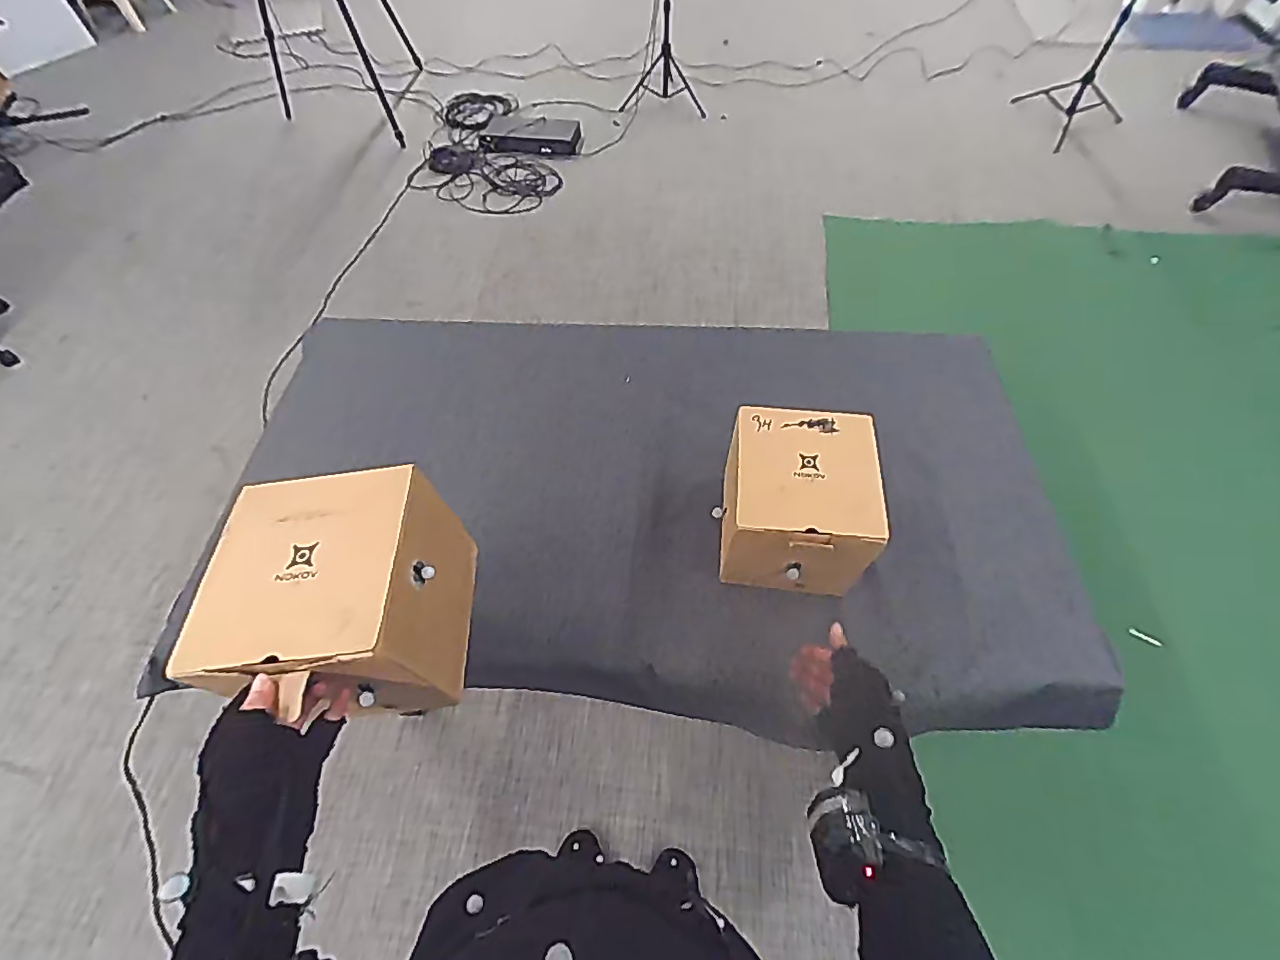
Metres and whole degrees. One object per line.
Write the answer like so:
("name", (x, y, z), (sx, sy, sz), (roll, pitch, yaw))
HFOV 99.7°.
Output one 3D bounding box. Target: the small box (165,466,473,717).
("small box", (-0.270, 0.113, 0.508), (0.168, 0.176, 0.179), (-7, 54, 2))
